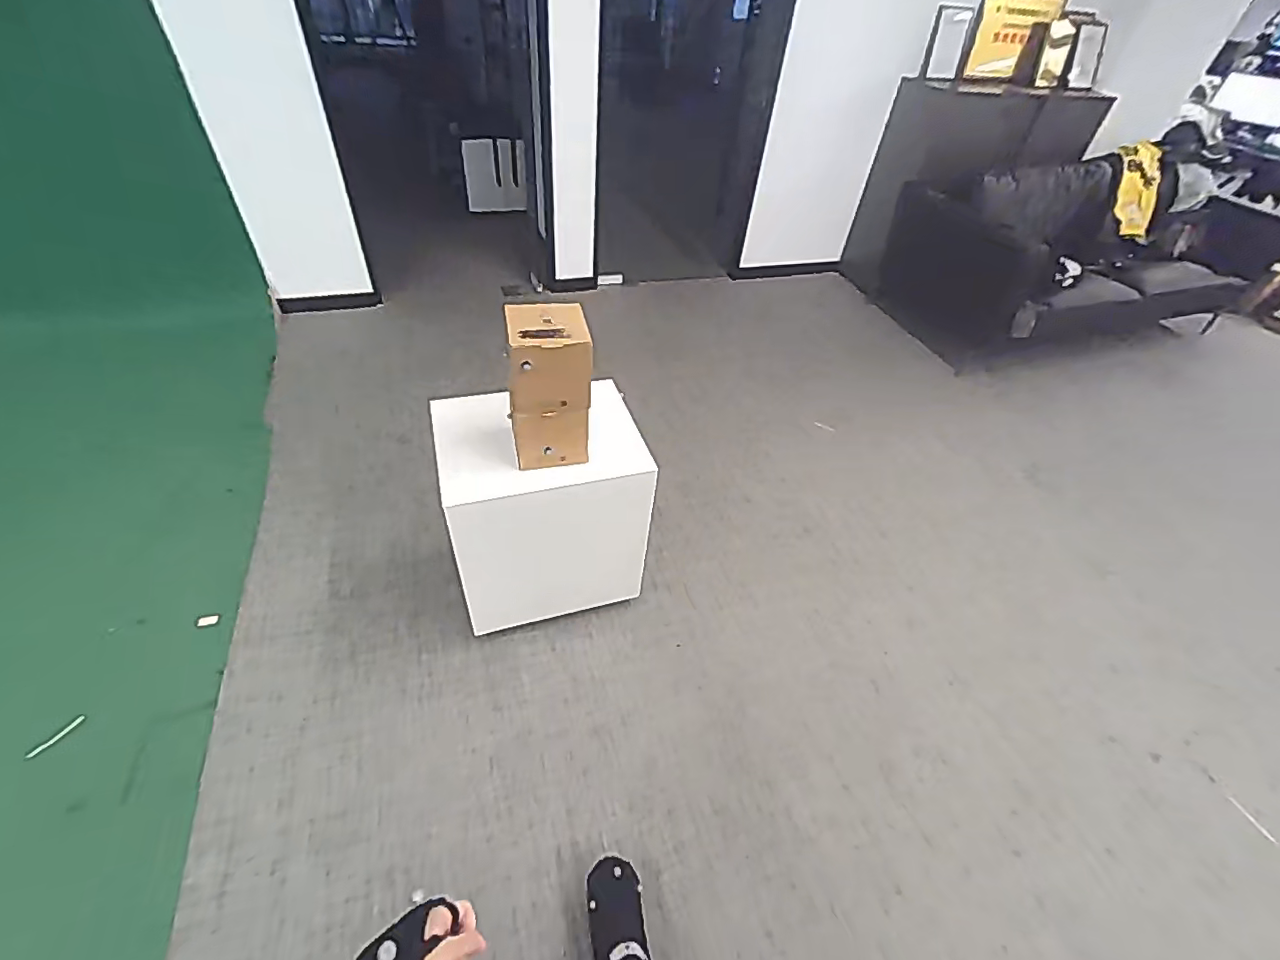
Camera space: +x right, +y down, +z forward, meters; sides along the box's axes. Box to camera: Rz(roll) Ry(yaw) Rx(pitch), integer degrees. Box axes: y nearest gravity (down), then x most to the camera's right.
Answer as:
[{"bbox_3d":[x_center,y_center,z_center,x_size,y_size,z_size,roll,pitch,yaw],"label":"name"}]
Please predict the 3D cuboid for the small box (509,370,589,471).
[{"bbox_3d":[-0.220,-0.143,1.295,0.168,0.176,0.179,-8,45,-14],"label":"small box"}]
